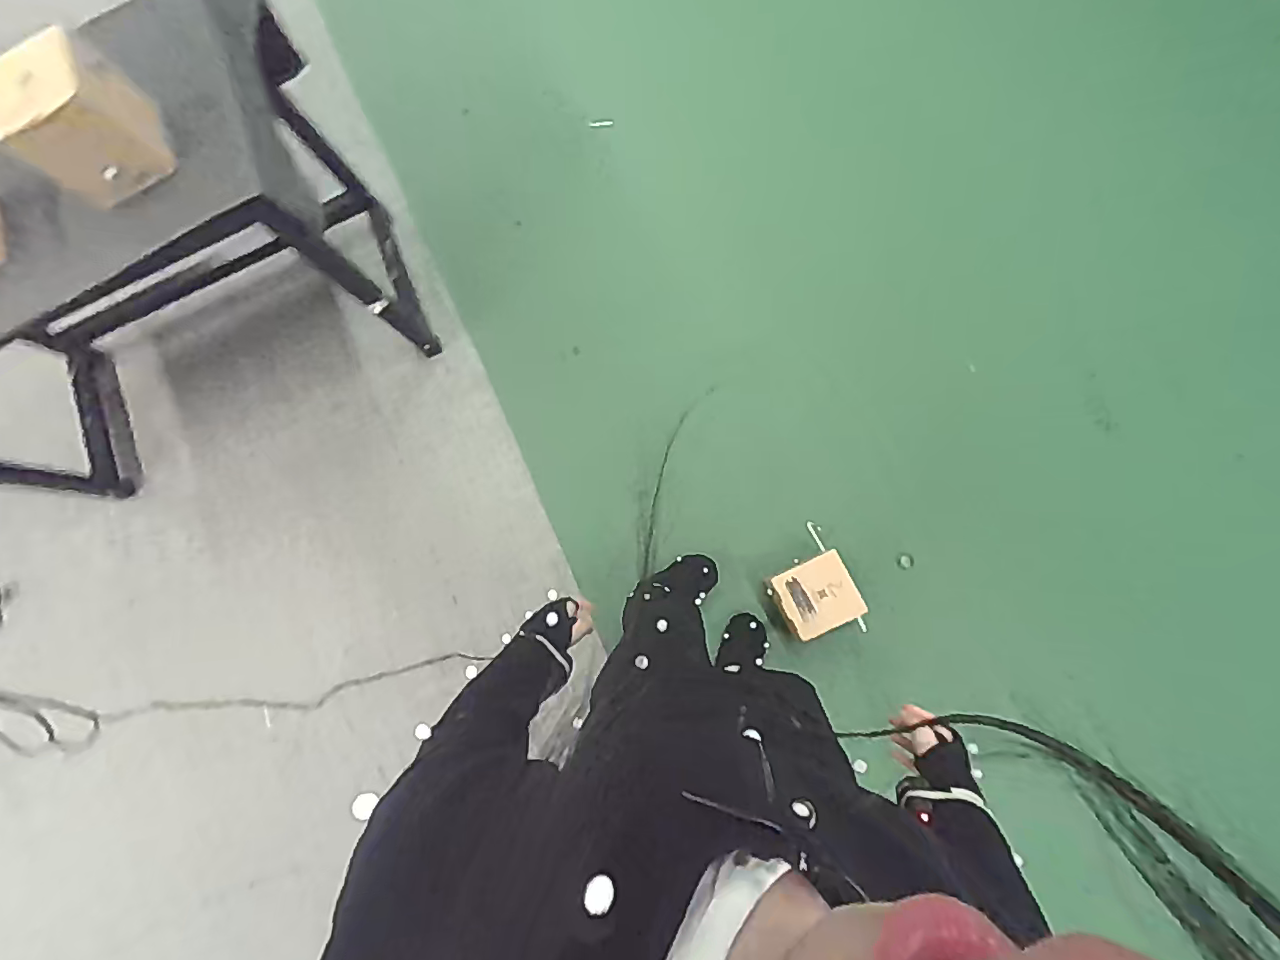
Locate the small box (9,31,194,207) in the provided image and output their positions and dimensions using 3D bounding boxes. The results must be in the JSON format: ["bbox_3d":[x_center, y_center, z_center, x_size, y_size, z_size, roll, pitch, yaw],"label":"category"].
[{"bbox_3d":[-0.980,-0.652,0.996,0.168,0.176,0.179,-27,77,4],"label":"small box"}]
